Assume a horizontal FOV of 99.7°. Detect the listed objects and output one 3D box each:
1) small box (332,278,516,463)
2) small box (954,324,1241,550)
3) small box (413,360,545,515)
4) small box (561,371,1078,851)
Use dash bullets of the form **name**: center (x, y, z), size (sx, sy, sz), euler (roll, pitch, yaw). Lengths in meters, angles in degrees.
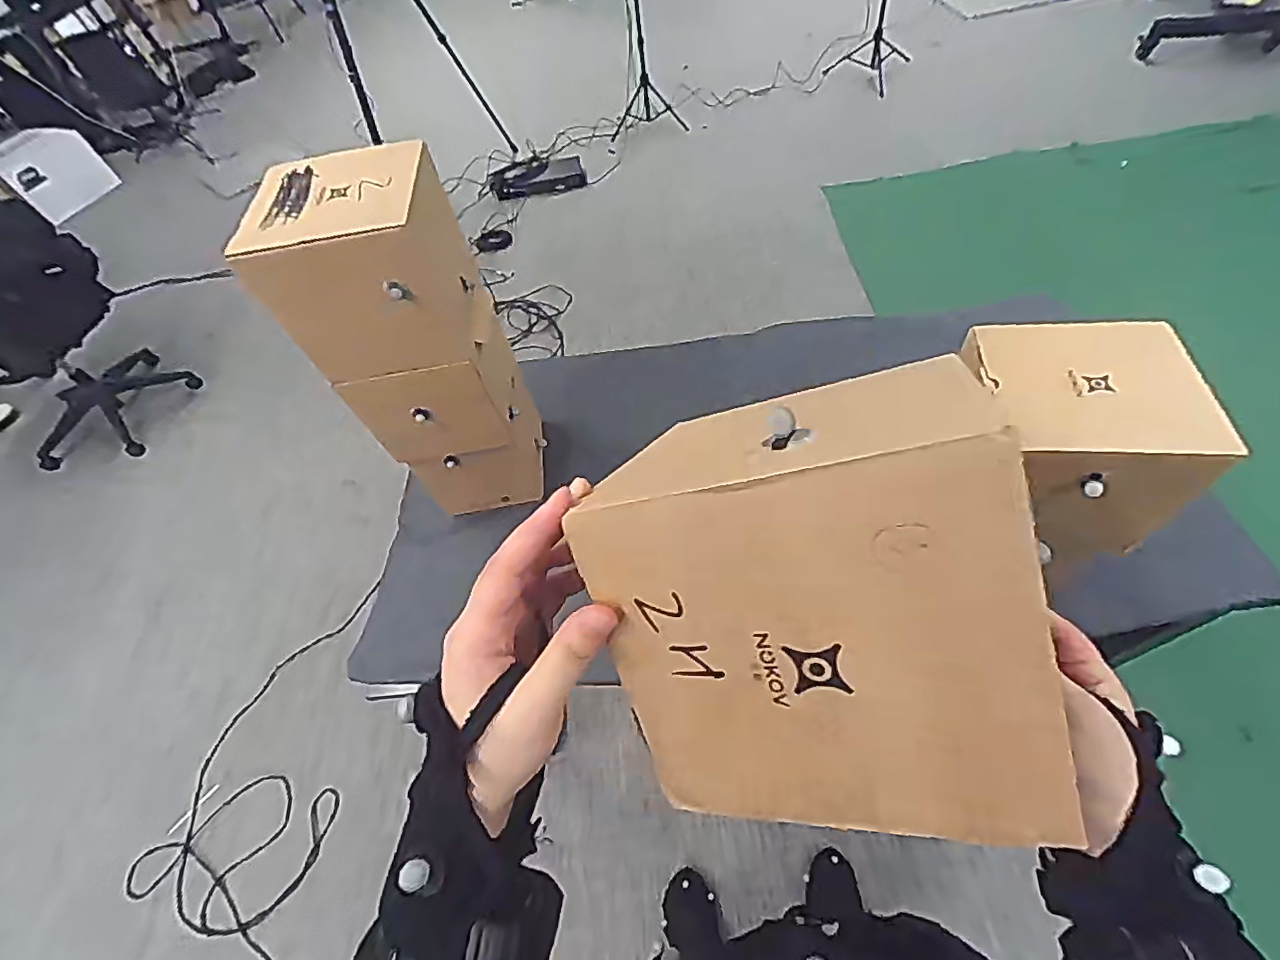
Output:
- **small box**: center (-0.278, -0.144, 0.744), size (0.179, 0.176, 0.168), euler (-10, 56, 3)
- **small box**: center (0.420, -0.039, 0.556), size (0.179, 0.176, 0.168), euler (1, 55, 12)
- **small box**: center (-0.258, -0.066, 0.889), size (0.168, 0.176, 0.179), euler (-10, 55, 2)
- **small box**: center (0.093, 0.050, 0.289), size (0.179, 0.168, 0.176), euler (-11, 14, 28)
